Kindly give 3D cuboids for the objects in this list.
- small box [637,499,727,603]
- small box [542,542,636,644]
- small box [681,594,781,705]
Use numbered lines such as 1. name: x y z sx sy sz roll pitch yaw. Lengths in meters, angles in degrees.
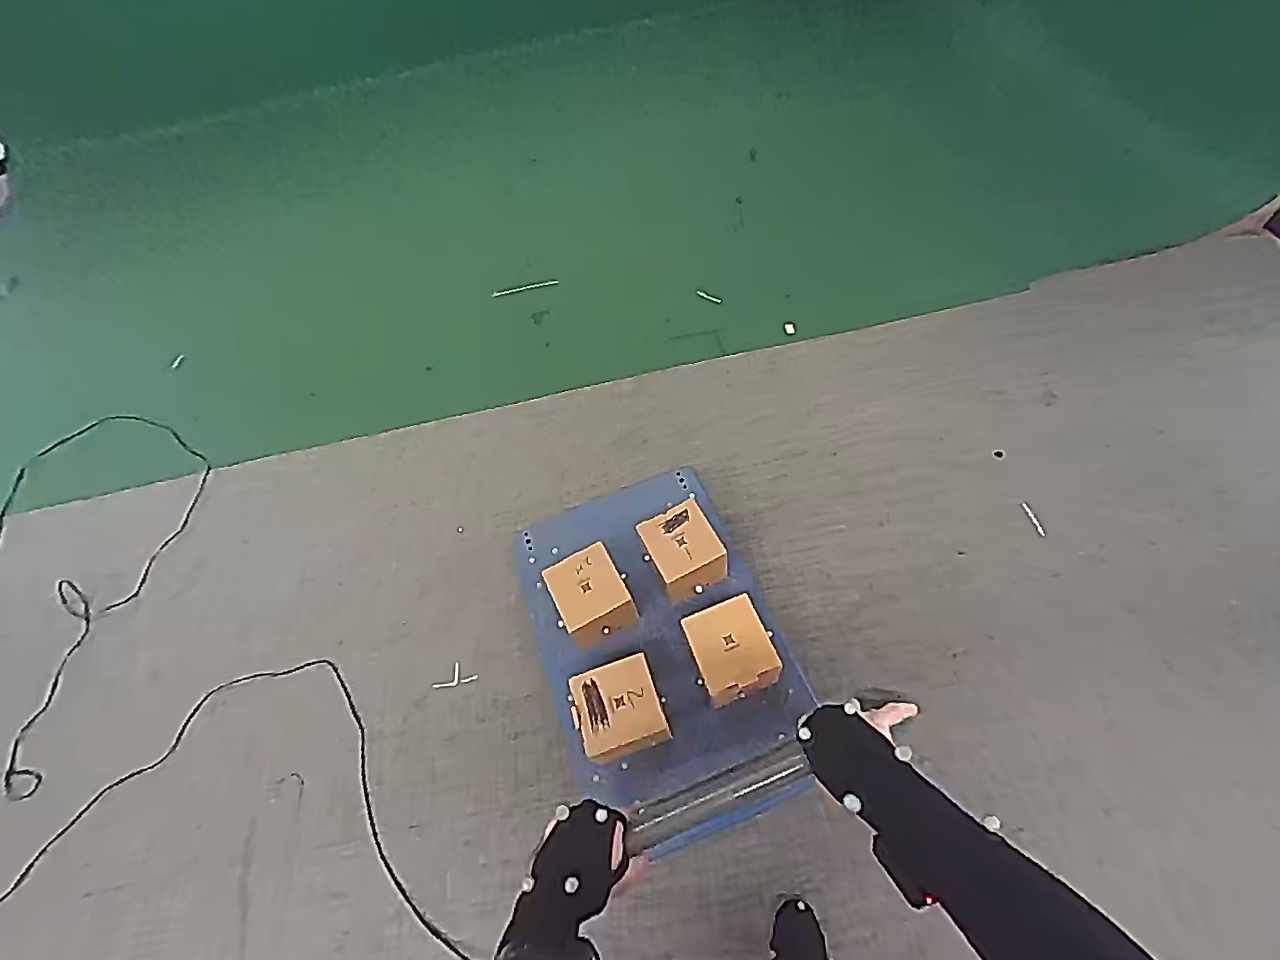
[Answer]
1. small box: 0.107 0.186 1.387 0.168 0.176 0.179 -26 60 -7
2. small box: -0.121 0.292 1.355 0.168 0.176 0.179 -26 59 -9
3. small box: 0.204 0.395 1.248 0.168 0.176 0.179 -21 58 -5
